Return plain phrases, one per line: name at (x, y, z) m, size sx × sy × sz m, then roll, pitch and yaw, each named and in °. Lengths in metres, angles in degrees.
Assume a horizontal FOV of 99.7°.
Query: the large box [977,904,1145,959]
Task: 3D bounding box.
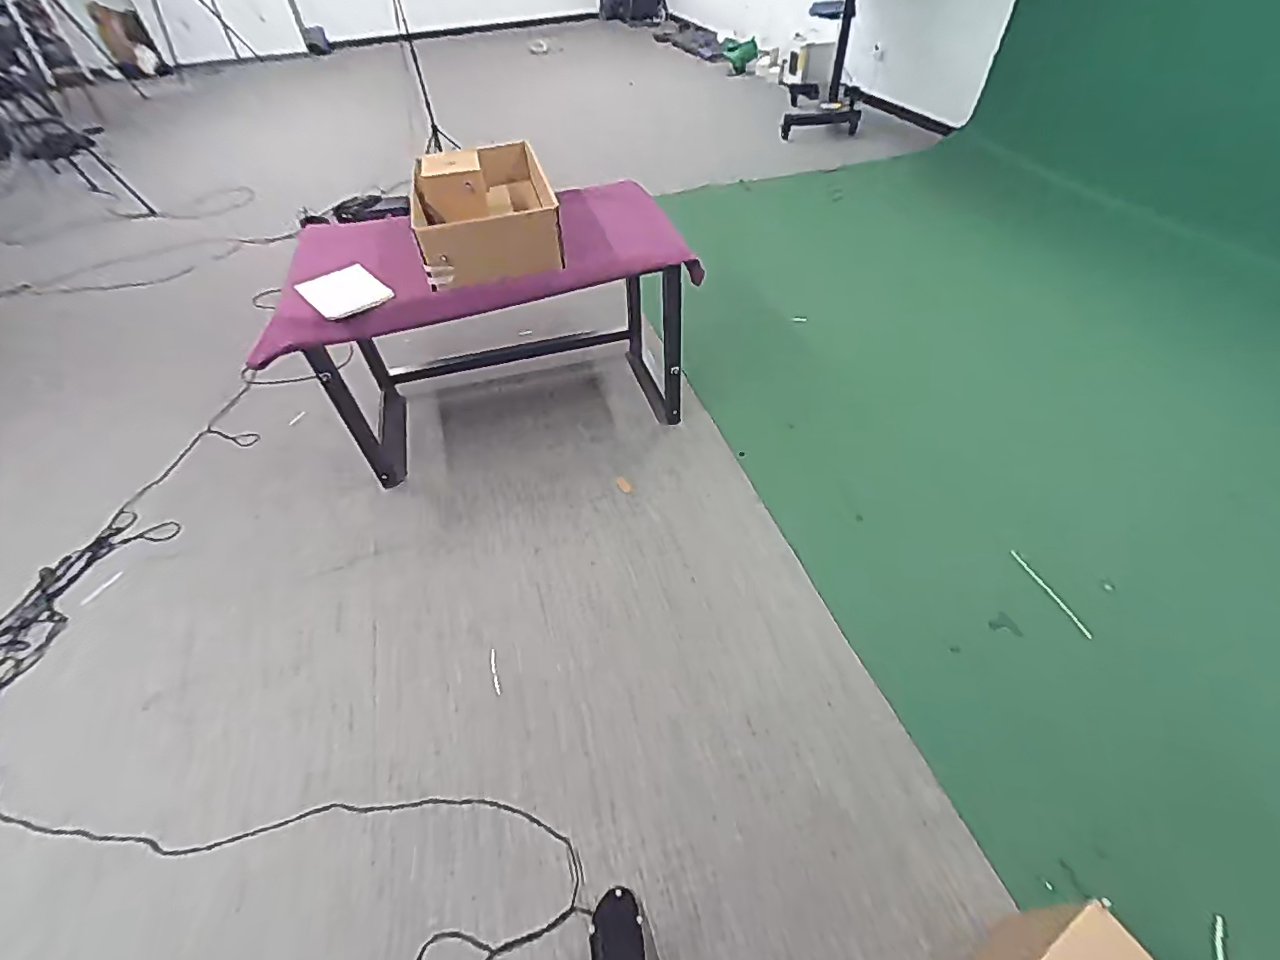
large box at (0.688, 1.000, 0.873) m, size 0.408 × 0.320 × 0.320 m, roll -25°, pitch 52°, yaw -20°
